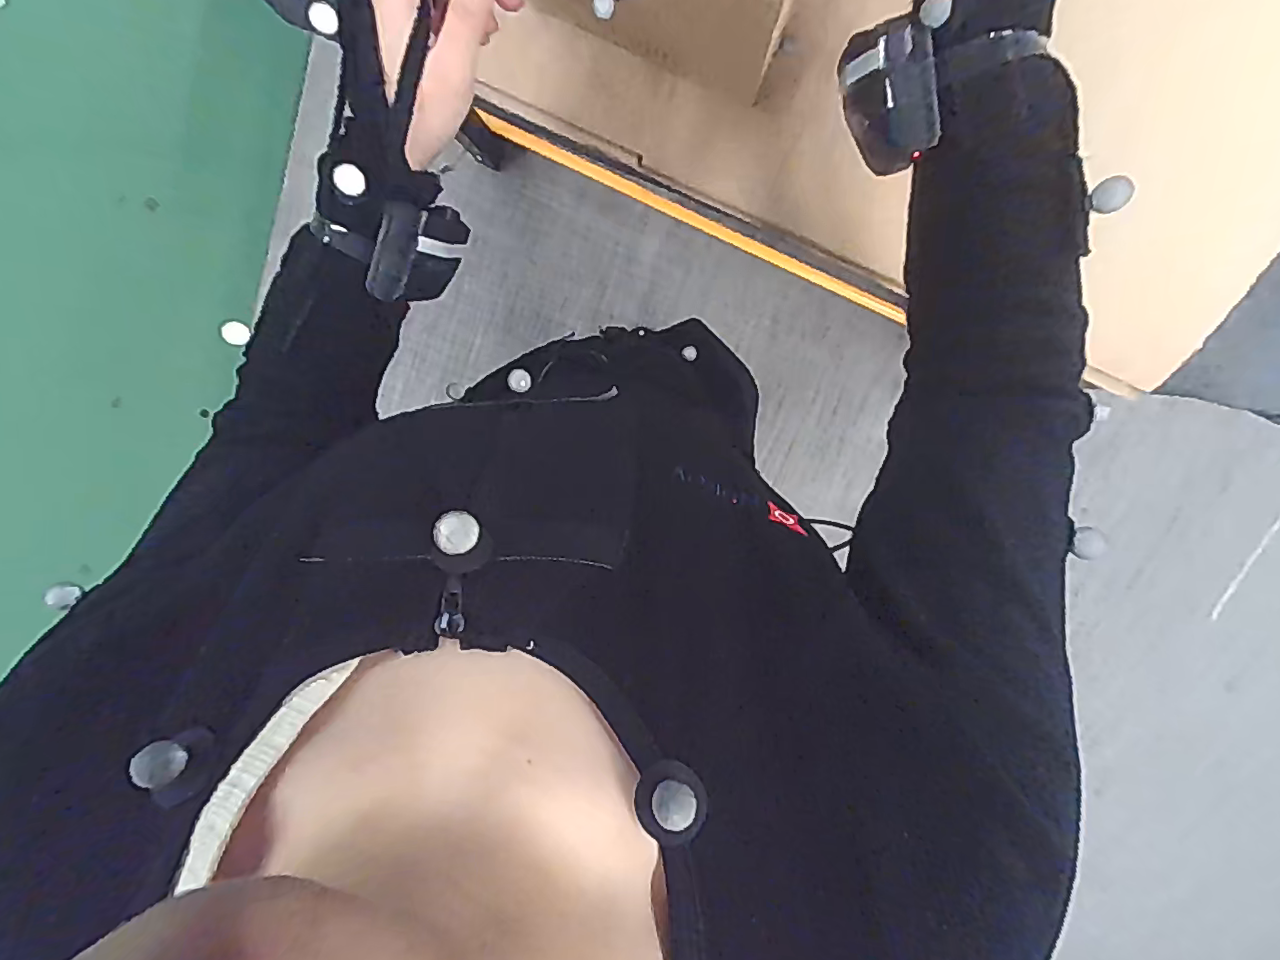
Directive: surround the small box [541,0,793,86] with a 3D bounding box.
[{"bbox_3d":[0.024,-0.343,0.280,0.179,0.176,0.168,24,111,-3],"label":"small box"}]
